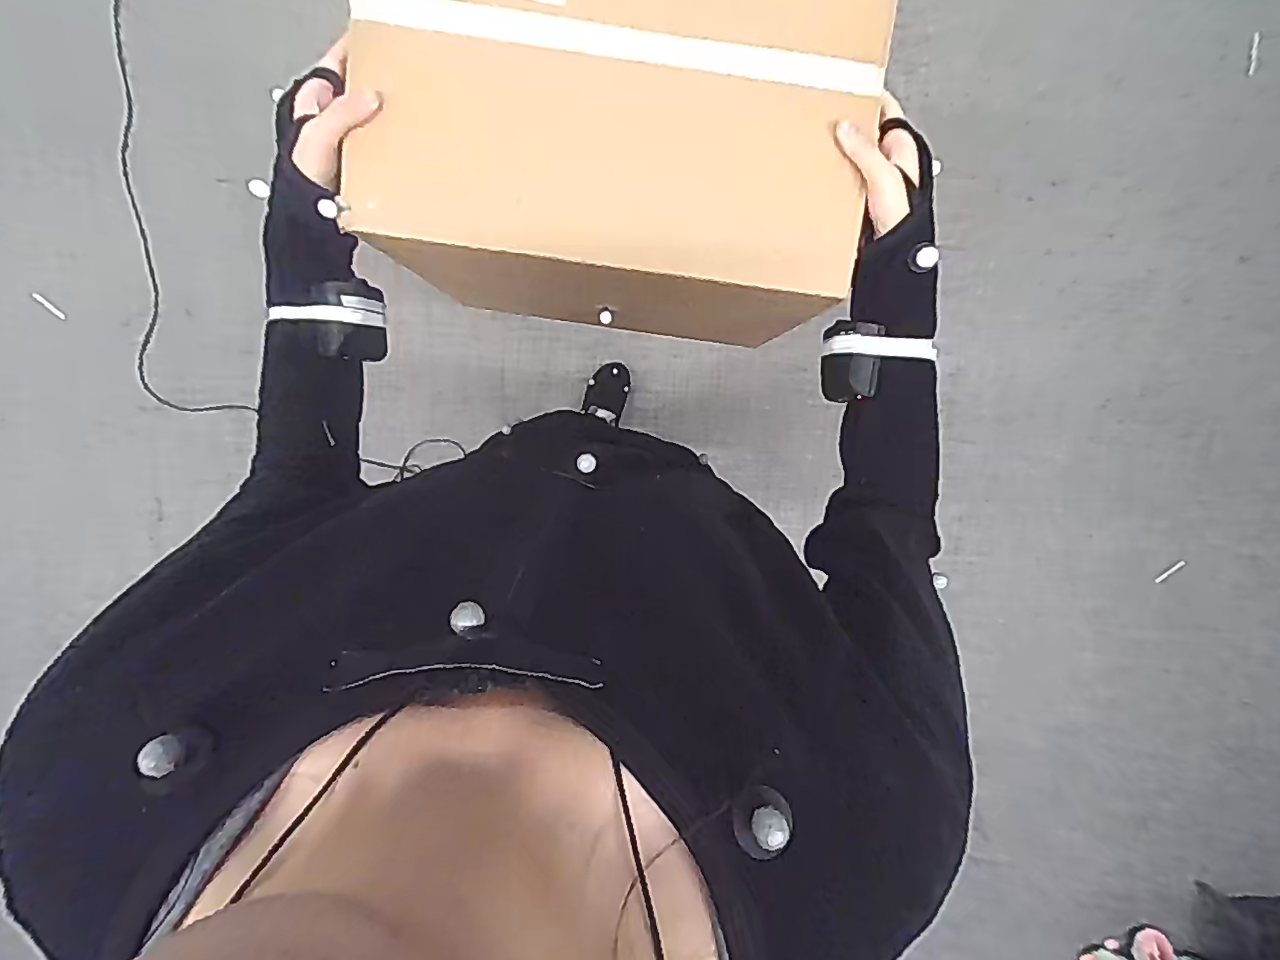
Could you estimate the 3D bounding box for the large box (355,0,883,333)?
[{"bbox_3d":[-0.016,-0.350,0.571,0.408,0.320,0.320,8,97,-2],"label":"large box"}]
